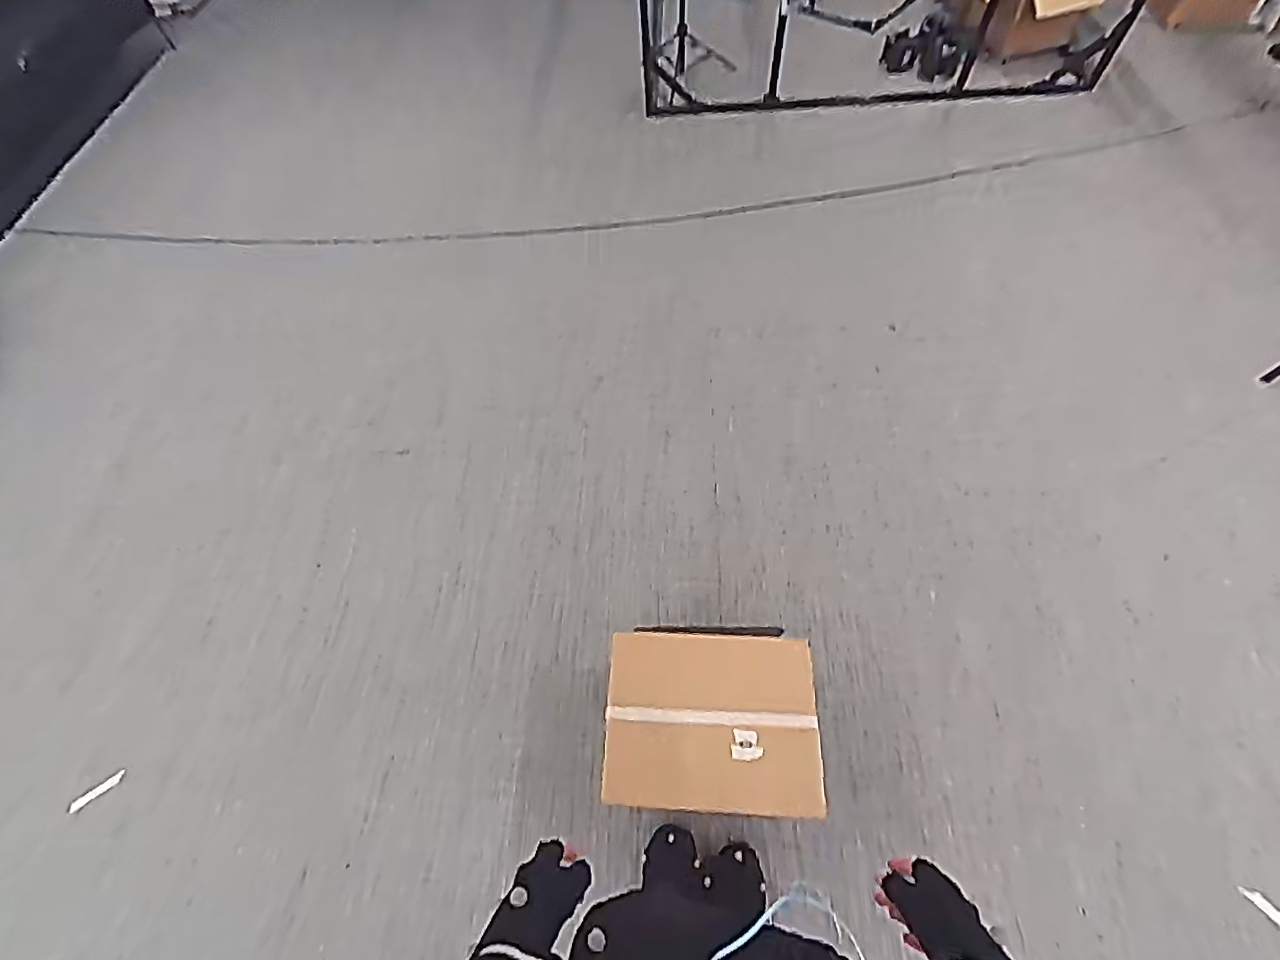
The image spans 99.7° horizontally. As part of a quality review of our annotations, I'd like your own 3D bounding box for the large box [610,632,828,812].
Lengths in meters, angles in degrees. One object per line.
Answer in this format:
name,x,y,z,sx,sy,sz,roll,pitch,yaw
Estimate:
large box,0.154,0.530,1.181,0.408,0.320,0.320,1,62,5
